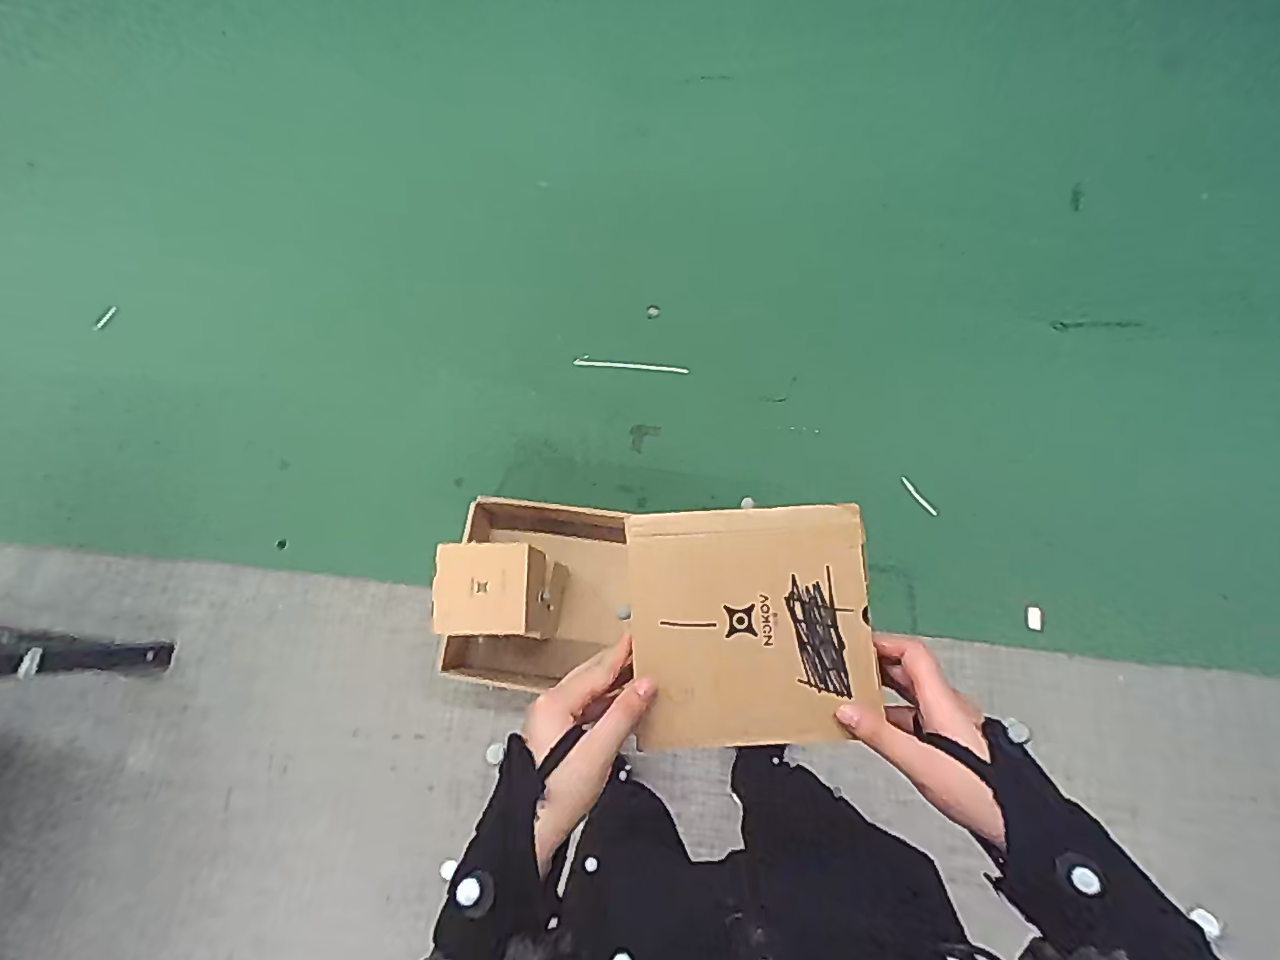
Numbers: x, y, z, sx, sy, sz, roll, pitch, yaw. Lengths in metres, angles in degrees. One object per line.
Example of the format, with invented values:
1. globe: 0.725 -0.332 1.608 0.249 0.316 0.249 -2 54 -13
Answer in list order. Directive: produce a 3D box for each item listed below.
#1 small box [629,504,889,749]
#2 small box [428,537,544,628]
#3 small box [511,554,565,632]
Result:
1. small box: 0.081 0.114 0.463 0.179 0.176 0.168 -3 79 -1
2. small box: -0.294 0.205 1.063 0.179 0.176 0.168 -1 77 0
3. small box: -0.282 0.246 1.221 0.179 0.176 0.168 8 77 5
